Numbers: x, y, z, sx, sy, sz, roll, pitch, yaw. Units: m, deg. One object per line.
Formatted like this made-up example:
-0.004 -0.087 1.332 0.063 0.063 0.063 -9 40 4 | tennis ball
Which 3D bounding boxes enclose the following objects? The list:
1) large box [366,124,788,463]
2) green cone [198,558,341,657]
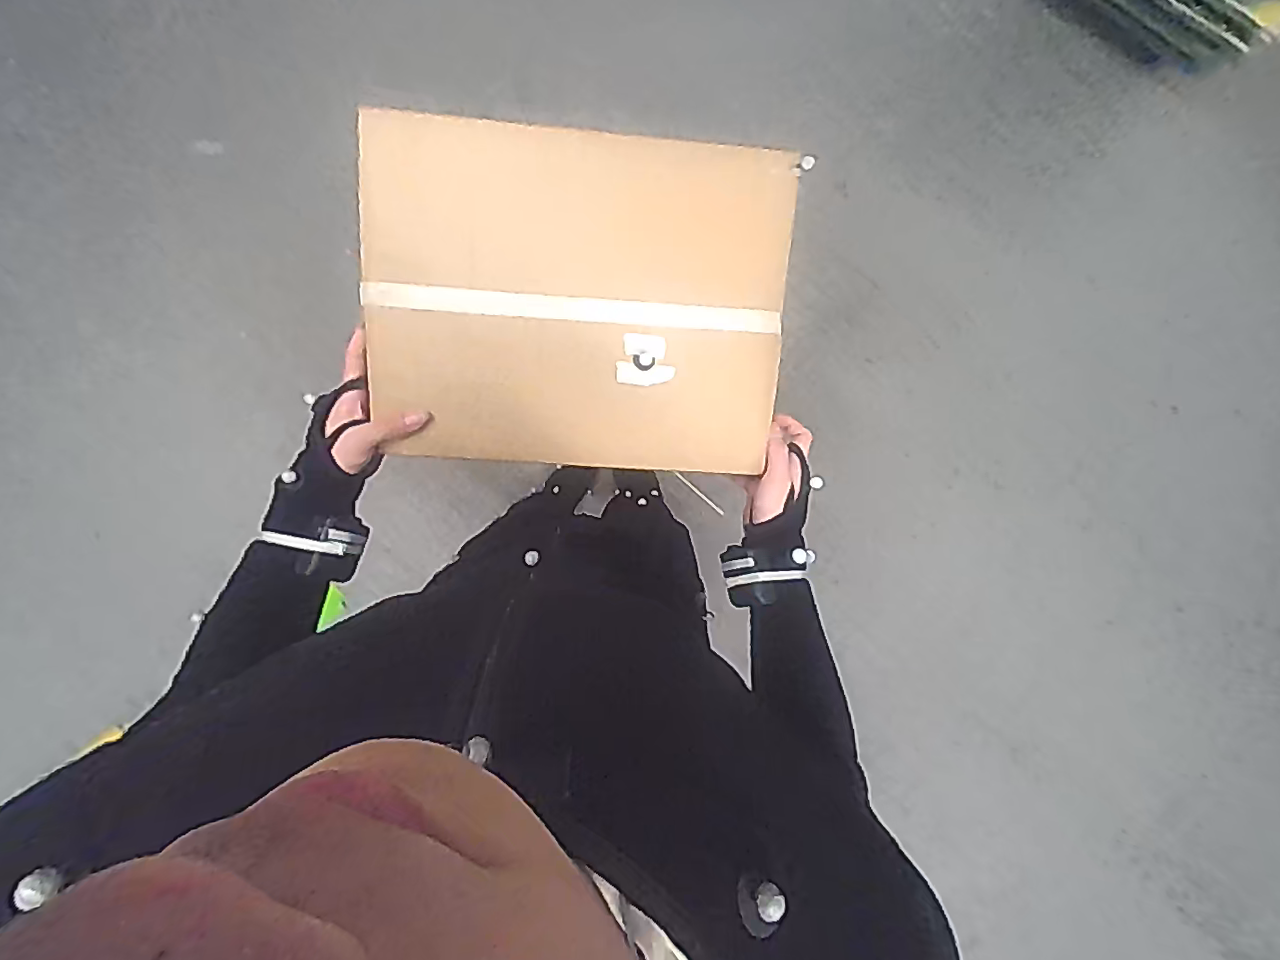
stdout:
-0.072 -0.201 0.682 0.408 0.320 0.320 2 103 -5 | large box
-1.014 0.372 1.437 0.202 0.368 0.200 -41 95 2 | green cone
